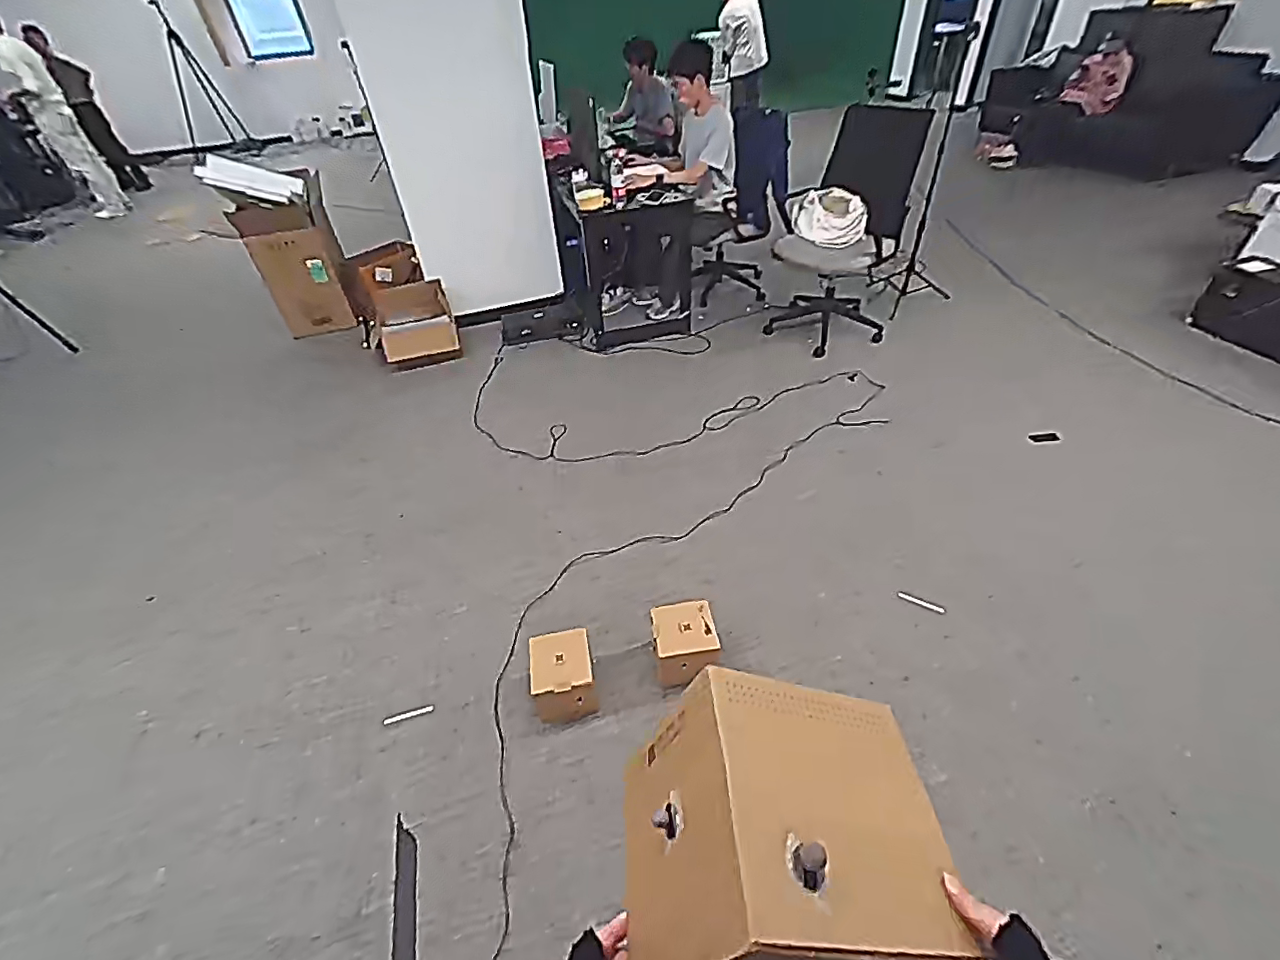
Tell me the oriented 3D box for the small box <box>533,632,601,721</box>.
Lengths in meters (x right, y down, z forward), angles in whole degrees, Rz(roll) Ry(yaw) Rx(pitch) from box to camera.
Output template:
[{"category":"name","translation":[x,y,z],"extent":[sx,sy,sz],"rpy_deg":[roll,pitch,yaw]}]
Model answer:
[{"category":"small box","translation":[-0.207,0.565,1.541],"extent":[0.168,0.176,0.179],"rpy_deg":[-9,42,-5]}]

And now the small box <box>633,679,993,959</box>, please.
[{"category":"small box","translation":[0.101,0.275,0.410],"extent":[0.179,0.168,0.176],"rpy_deg":[18,35,-16]}]

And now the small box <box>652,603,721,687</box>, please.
[{"category":"small box","translation":[0.136,0.489,1.589],"extent":[0.179,0.176,0.168],"rpy_deg":[-8,42,-3]}]
